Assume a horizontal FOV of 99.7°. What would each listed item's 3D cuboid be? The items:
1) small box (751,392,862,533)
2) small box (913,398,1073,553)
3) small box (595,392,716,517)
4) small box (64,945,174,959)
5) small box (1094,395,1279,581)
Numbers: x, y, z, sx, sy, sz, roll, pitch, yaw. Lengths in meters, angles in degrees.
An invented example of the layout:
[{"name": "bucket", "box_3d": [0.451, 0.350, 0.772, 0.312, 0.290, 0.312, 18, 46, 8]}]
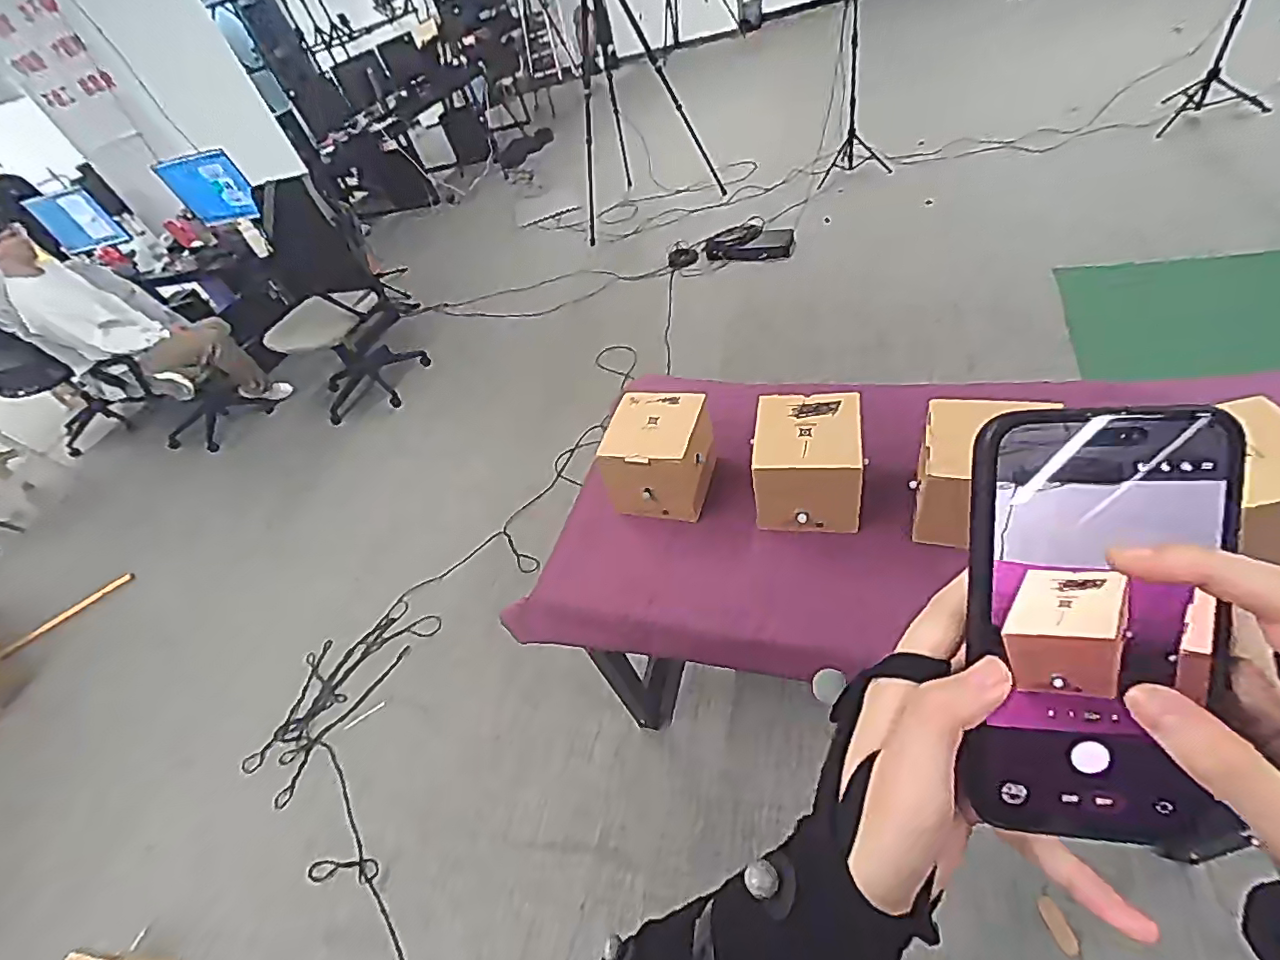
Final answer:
[{"name": "small box", "box_3d": [0.288, -0.031, 0.932, 0.168, 0.176, 0.179, 0, 49, 20]}, {"name": "small box", "box_3d": [0.525, -0.006, 0.829, 0.179, 0.176, 0.168, 7, 52, 24]}, {"name": "small box", "box_3d": [0.040, -0.049, 1.033, 0.168, 0.176, 0.179, 5, 51, 23]}, {"name": "small box", "box_3d": [-1.287, 1.239, 1.296, 0.179, 0.176, 0.168, -3, 48, 17]}, {"name": "small box", "box_3d": [0.761, 0.017, 0.726, 0.179, 0.176, 0.168, -12, 45, 8]}]
